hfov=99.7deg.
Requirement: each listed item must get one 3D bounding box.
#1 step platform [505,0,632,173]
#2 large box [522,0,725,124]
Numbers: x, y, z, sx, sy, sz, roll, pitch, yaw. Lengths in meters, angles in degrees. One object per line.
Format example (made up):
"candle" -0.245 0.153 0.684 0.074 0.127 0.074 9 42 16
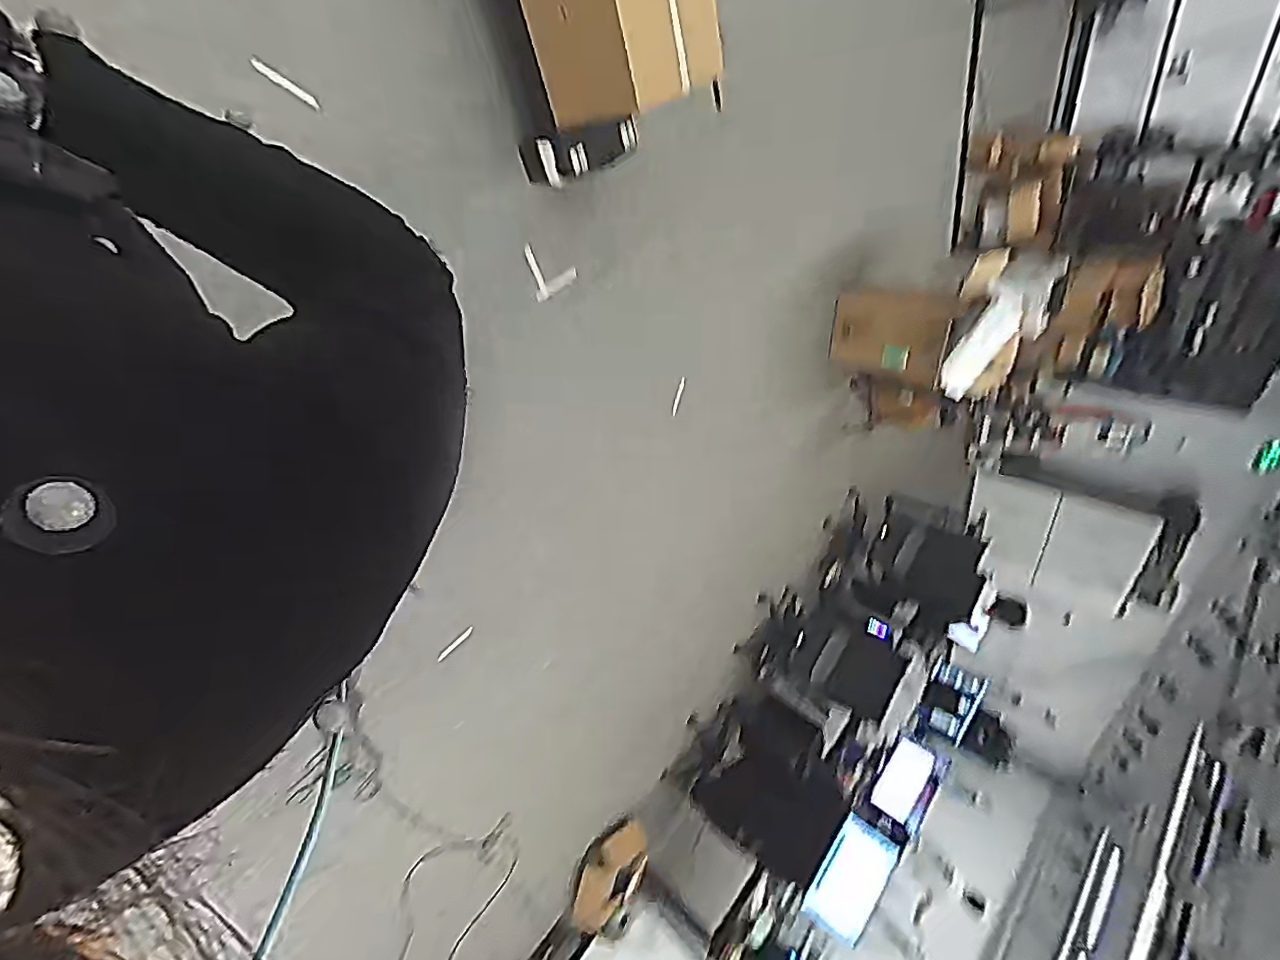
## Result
"step platform" -0.234 -1.169 1.350 0.286 0.204 0.684 -38 131 -29
"large box" -0.052 -1.093 1.213 0.320 0.320 0.408 -43 133 -26
